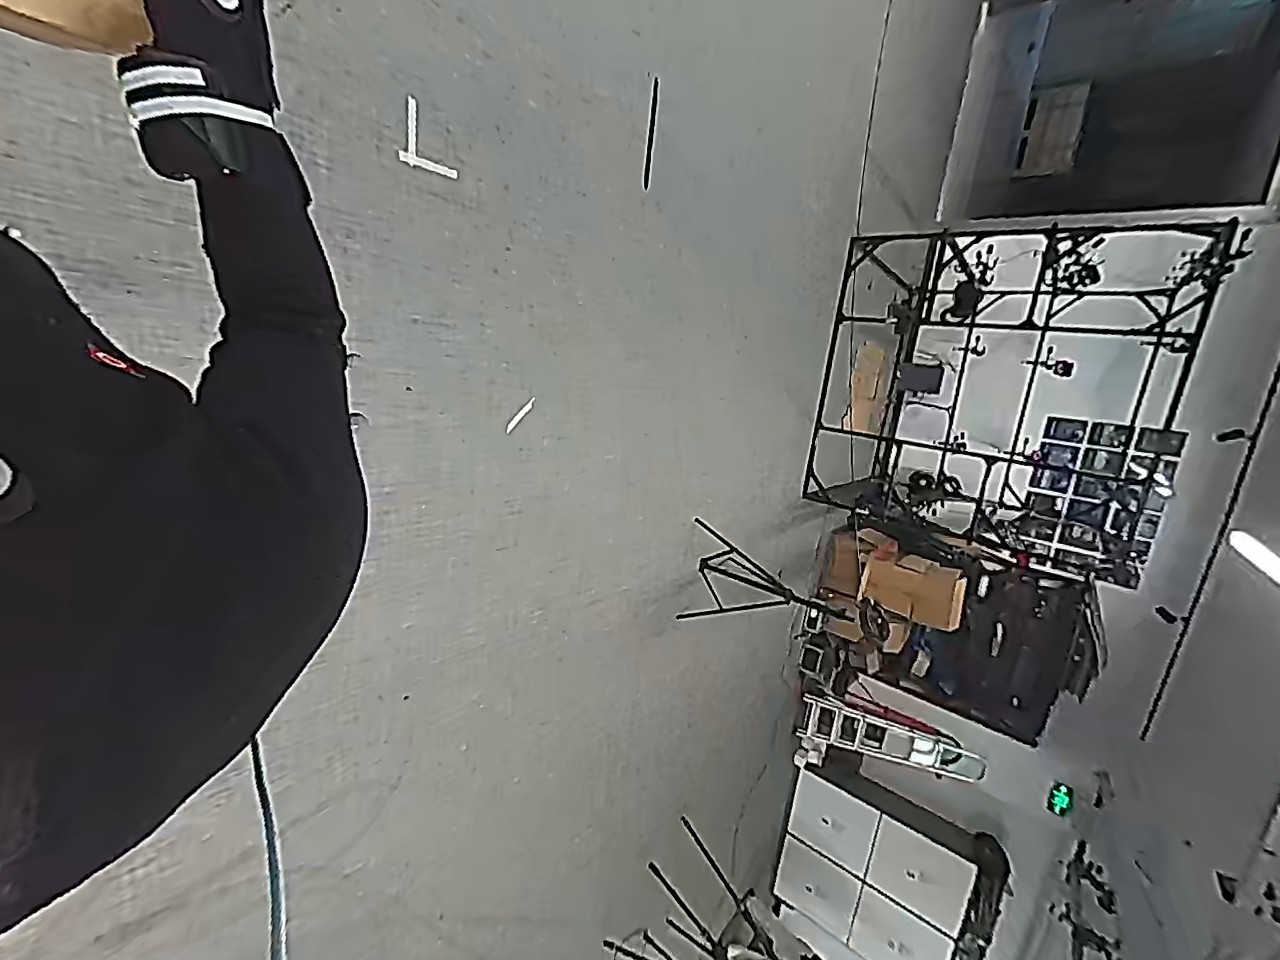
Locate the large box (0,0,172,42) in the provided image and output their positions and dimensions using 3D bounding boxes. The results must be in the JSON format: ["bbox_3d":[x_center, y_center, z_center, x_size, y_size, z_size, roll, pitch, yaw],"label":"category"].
[{"bbox_3d":[-0.527,-0.477,0.245,0.408,0.320,0.320,-15,128,-53],"label":"large box"}]
